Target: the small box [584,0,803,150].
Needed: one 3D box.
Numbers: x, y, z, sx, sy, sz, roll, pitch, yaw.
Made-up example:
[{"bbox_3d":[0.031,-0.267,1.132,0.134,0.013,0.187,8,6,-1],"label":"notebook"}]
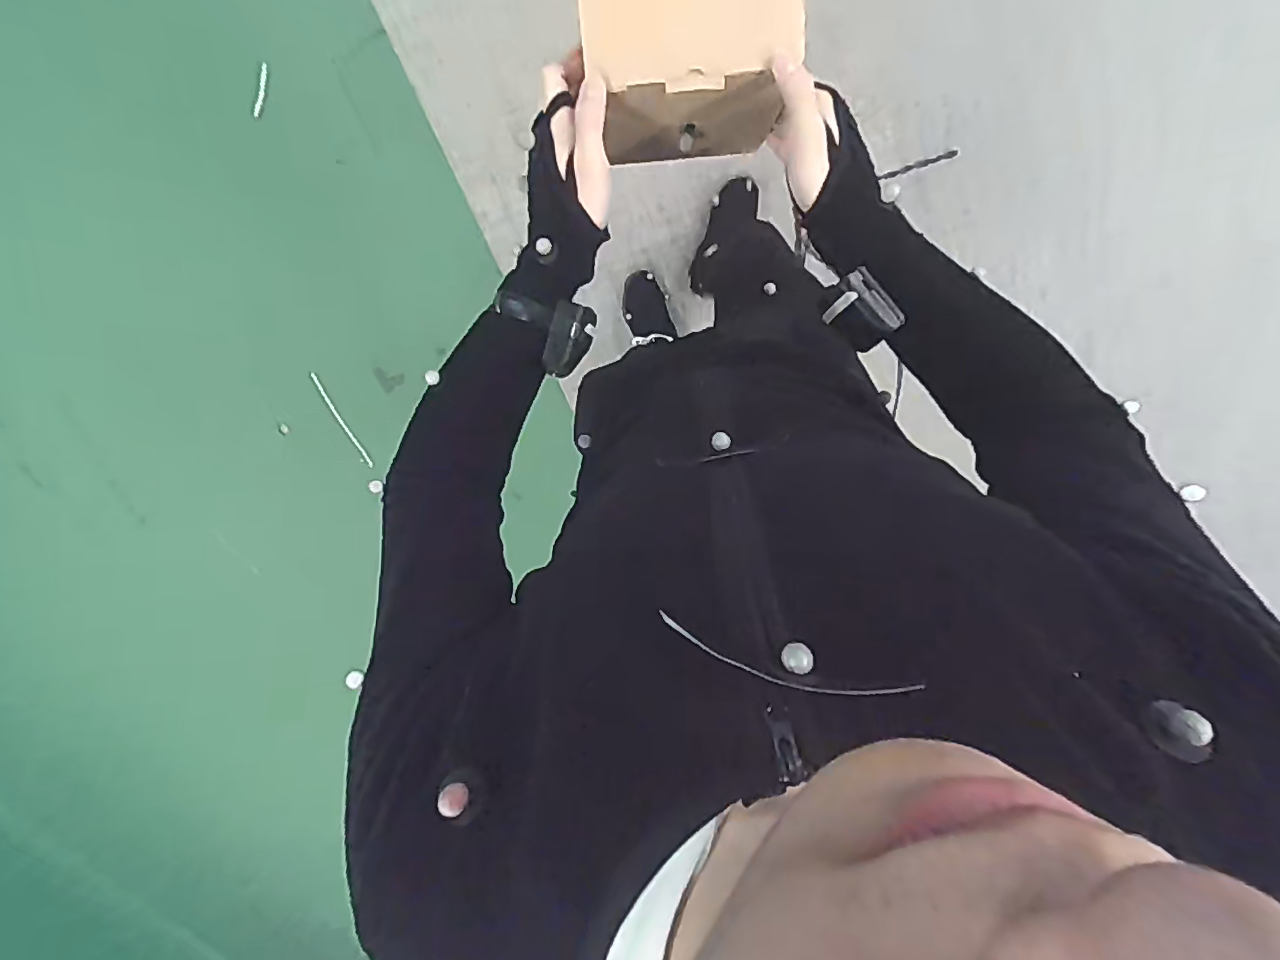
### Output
[{"bbox_3d":[0.039,-0.411,0.472,0.168,0.176,0.179,-4,103,2],"label":"small box"}]
